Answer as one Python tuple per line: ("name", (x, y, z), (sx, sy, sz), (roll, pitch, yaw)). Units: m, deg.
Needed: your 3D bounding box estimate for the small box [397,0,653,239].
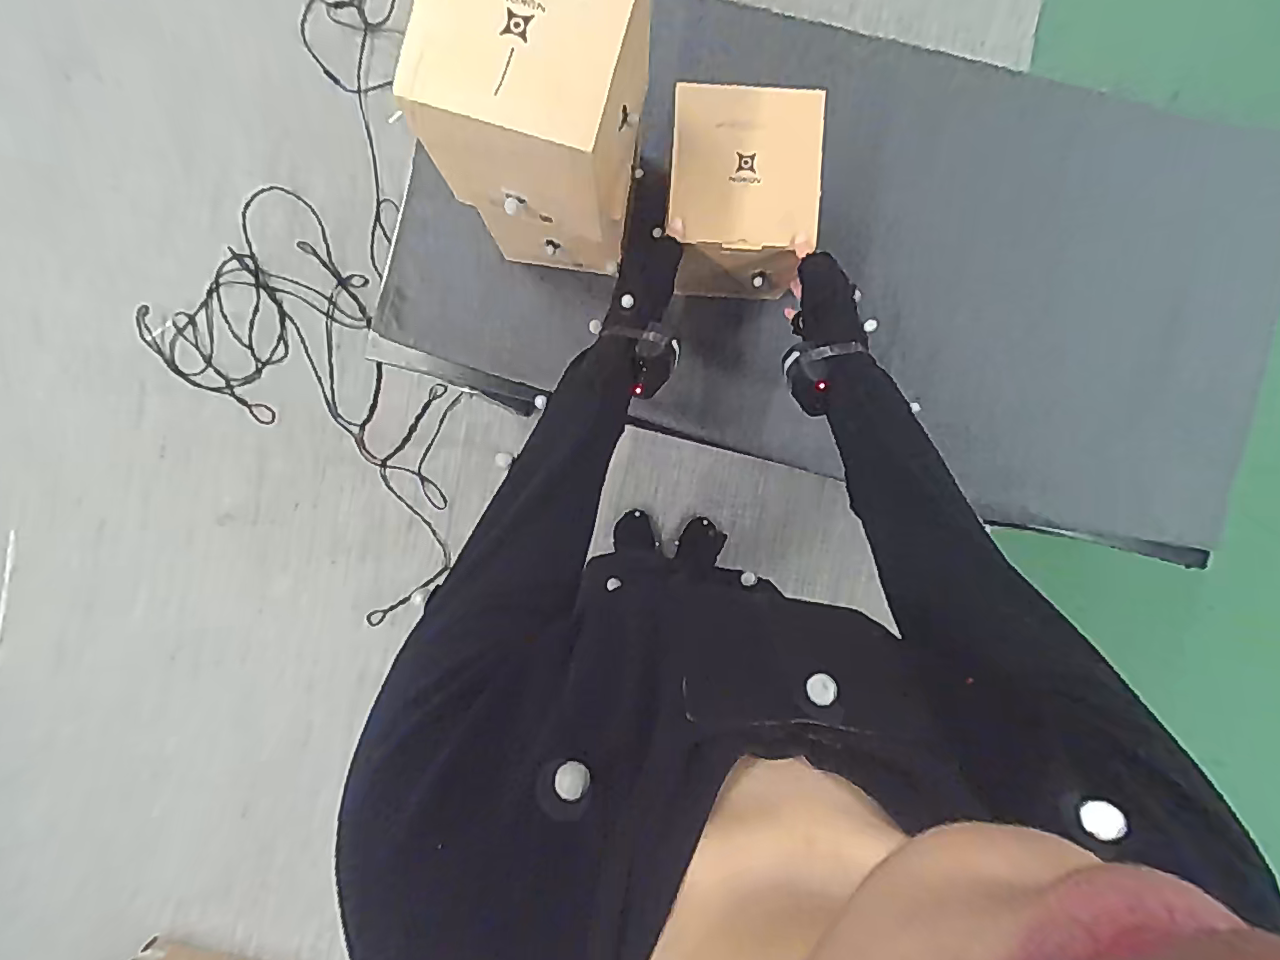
("small box", (-0.089, -0.360, 0.499), (0.168, 0.176, 0.179), (16, 91, -1))
